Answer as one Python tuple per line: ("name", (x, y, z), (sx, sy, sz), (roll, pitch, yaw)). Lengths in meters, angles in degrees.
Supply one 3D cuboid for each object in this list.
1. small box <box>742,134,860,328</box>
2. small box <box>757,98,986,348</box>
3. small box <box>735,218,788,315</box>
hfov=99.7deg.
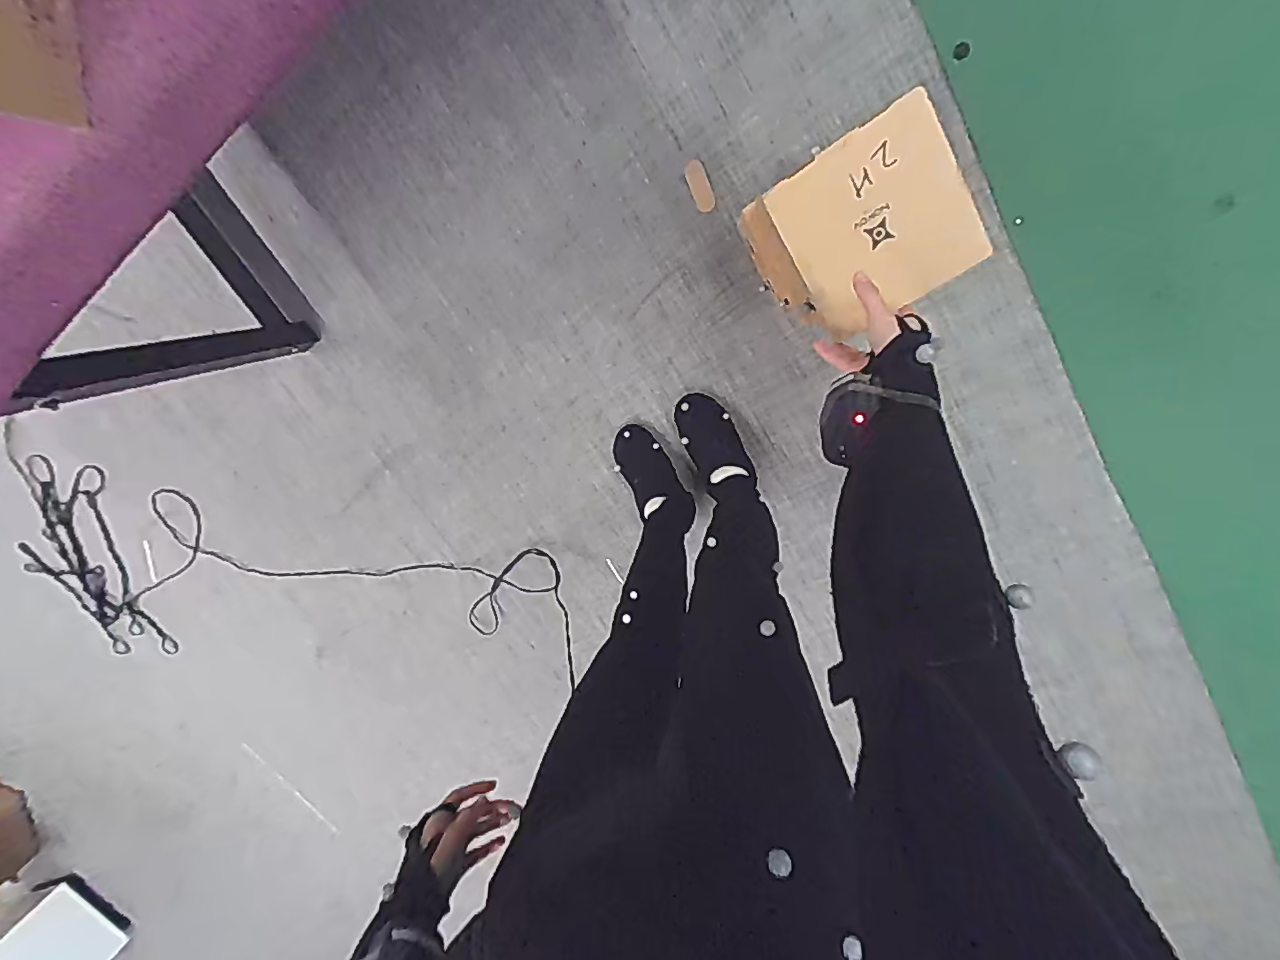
("small box", (0.255, -0.341, 0.767), (0.168, 0.176, 0.179), (-29, 105, 19))
("small box", (0.246, -0.278, 0.614), (0.168, 0.176, 0.179), (-29, 105, 19))
("small box", (0.275, -0.400, 0.916), (0.179, 0.176, 0.168), (-27, 105, 18))
